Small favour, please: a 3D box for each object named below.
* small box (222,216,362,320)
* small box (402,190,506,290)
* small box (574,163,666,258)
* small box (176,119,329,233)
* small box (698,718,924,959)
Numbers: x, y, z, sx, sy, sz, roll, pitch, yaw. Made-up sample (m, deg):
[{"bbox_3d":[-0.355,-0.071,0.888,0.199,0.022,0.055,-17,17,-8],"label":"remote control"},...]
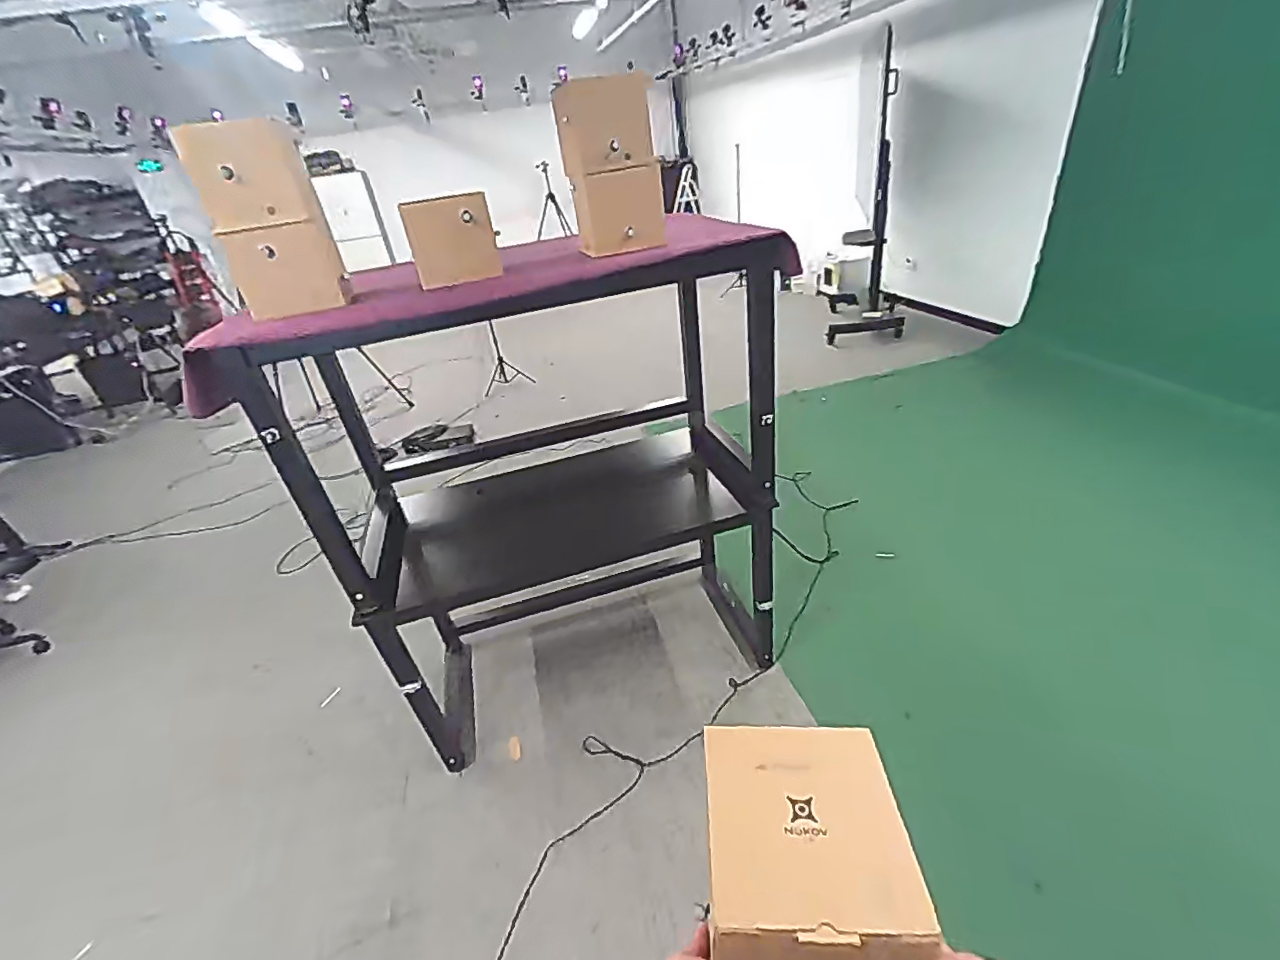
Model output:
[{"bbox_3d":[-0.713,-0.444,1.131,0.179,0.176,0.168,-15,32,-12],"label":"small box"},{"bbox_3d":[-0.400,-0.533,1.195,0.179,0.176,0.168,-15,31,-9],"label":"small box"},{"bbox_3d":[-0.043,-0.626,1.253,0.179,0.176,0.168,-15,30,-10],"label":"small box"},{"bbox_3d":[-0.735,-0.584,1.053,0.168,0.176,0.179,-16,32,-12],"label":"small box"},{"bbox_3d":[0.140,0.355,0.509,0.168,0.176,0.179,-1,28,5],"label":"small box"}]
